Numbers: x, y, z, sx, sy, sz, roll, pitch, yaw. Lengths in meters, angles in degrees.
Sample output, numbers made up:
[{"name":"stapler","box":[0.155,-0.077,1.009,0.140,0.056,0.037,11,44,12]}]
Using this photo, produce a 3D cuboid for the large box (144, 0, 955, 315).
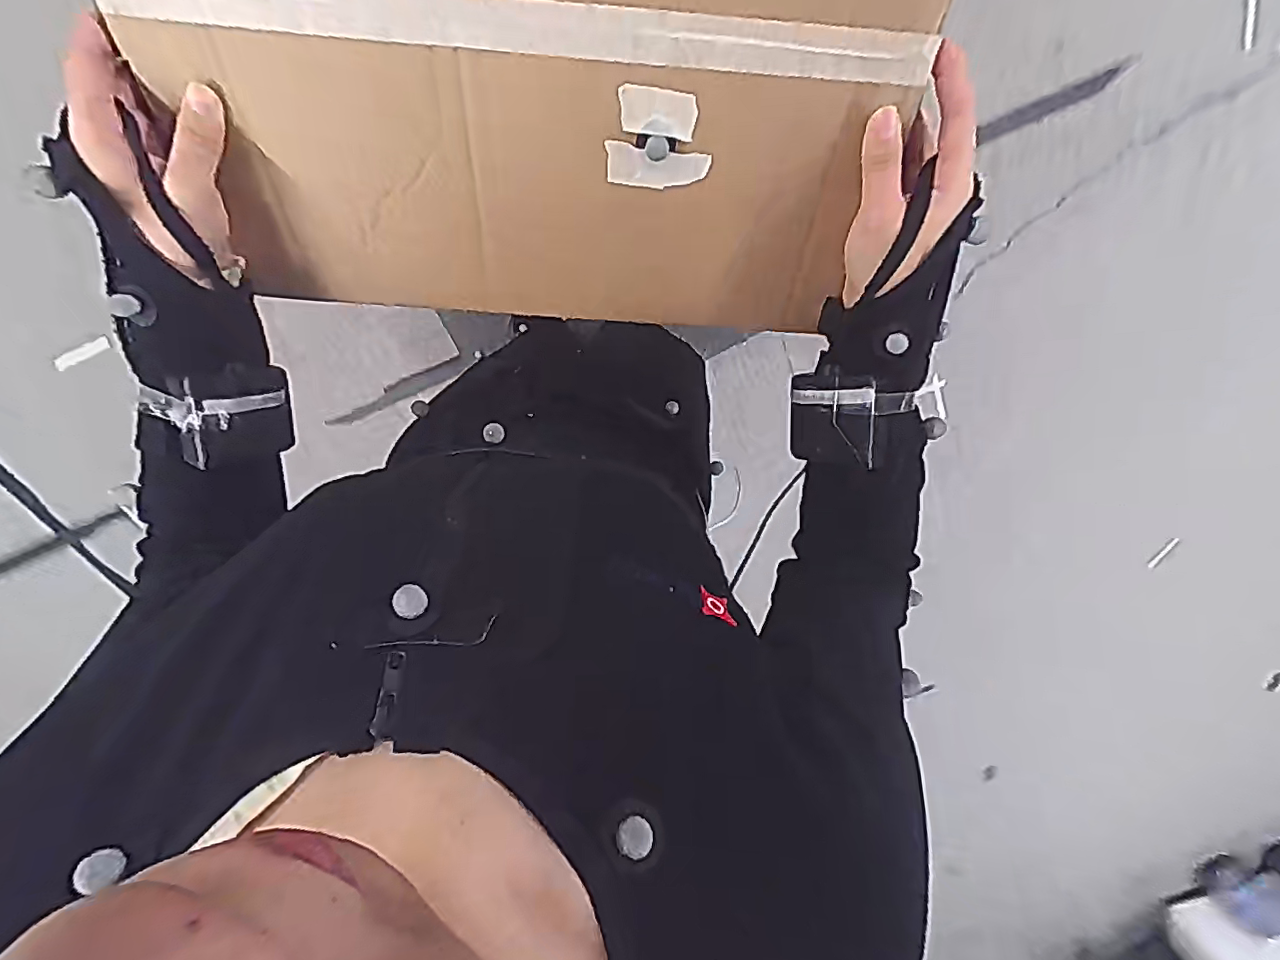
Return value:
[{"name":"large box","box":[-0.046,-0.340,0.373,0.408,0.320,0.320,3,136,-4]}]
